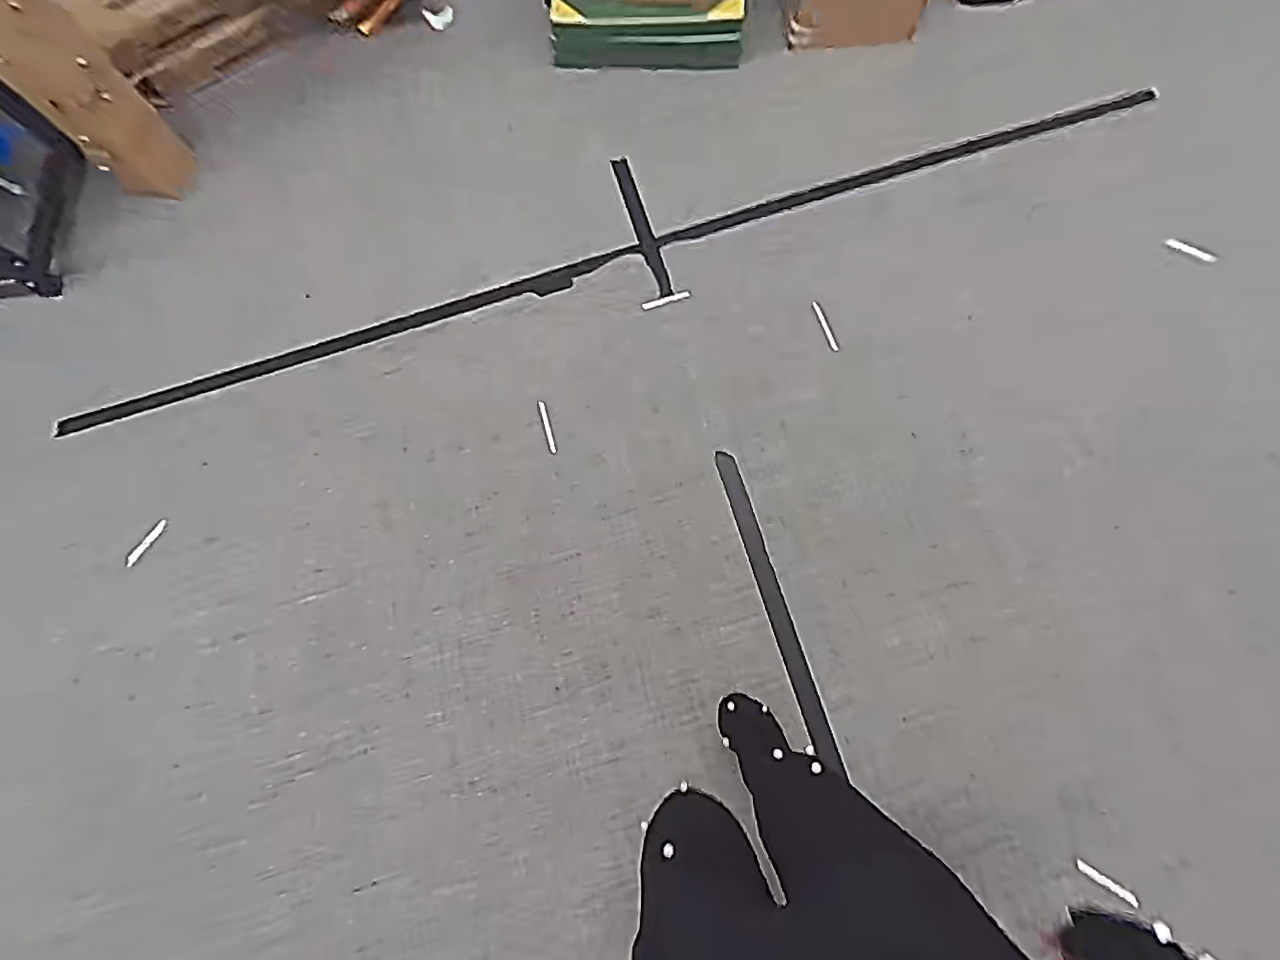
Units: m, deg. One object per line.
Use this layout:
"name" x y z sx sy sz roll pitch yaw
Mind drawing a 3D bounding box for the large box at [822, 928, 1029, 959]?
"large box" 0.538 1.033 0.901 0.408 0.320 0.320 -10 73 0
